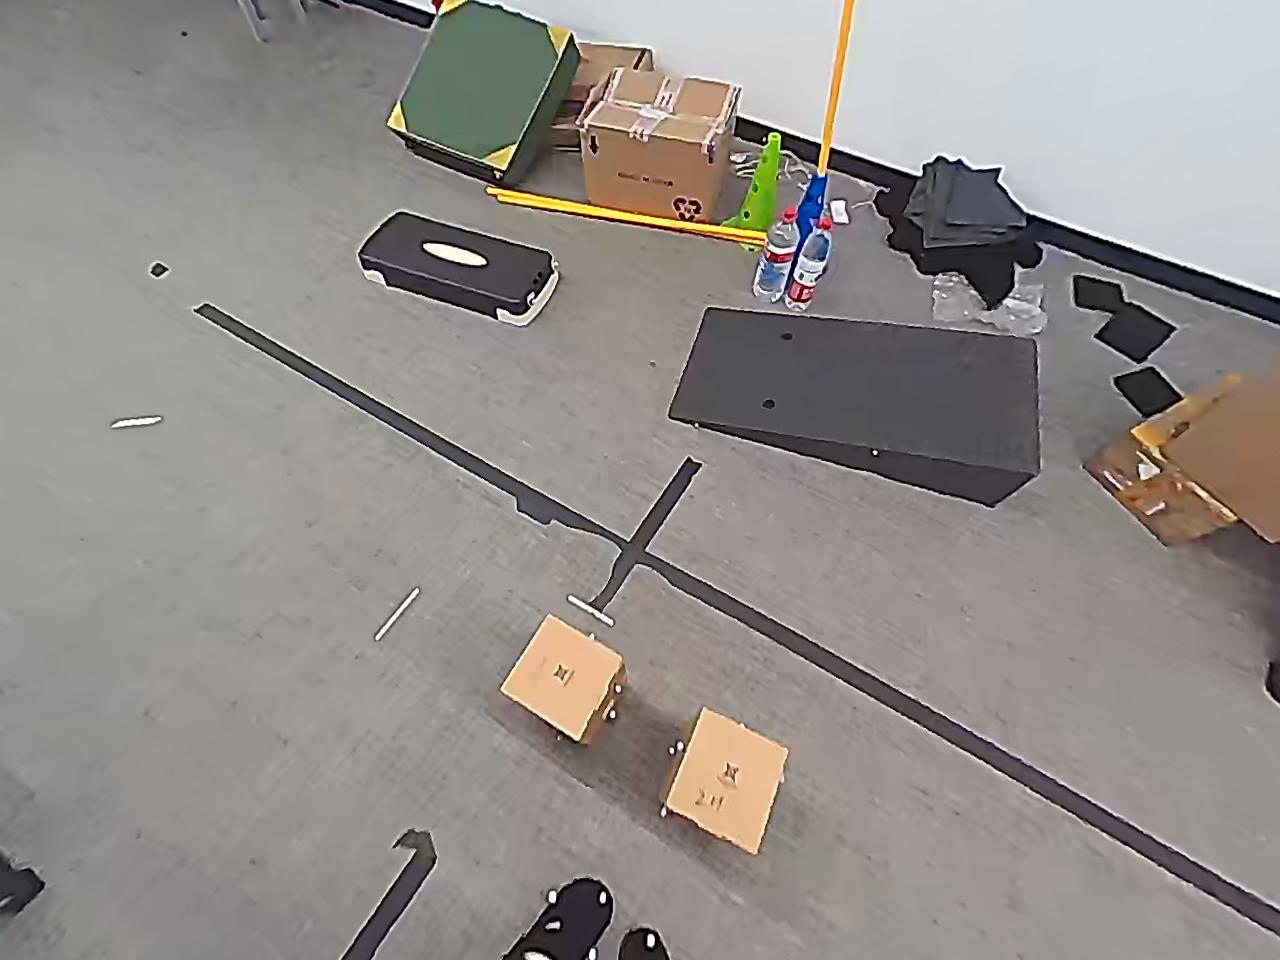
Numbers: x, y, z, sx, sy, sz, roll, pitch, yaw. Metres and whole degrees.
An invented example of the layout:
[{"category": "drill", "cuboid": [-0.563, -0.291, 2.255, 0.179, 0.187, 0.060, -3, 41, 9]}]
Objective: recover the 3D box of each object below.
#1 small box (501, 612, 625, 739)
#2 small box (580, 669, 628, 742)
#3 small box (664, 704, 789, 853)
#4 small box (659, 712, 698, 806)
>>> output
[{"category": "small box", "cuboid": [-0.142, 0.390, 1.071, 0.179, 0.176, 0.168, 27, 65, 13]}, {"category": "small box", "cuboid": [-0.141, 0.465, 1.217, 0.179, 0.176, 0.168, 30, 66, 13]}, {"category": "small box", "cuboid": [0.151, 0.542, 0.996, 0.168, 0.176, 0.179, 24, 65, 12]}, {"category": "small box", "cuboid": [0.148, 0.618, 1.142, 0.168, 0.176, 0.179, 23, 64, 11]}]
